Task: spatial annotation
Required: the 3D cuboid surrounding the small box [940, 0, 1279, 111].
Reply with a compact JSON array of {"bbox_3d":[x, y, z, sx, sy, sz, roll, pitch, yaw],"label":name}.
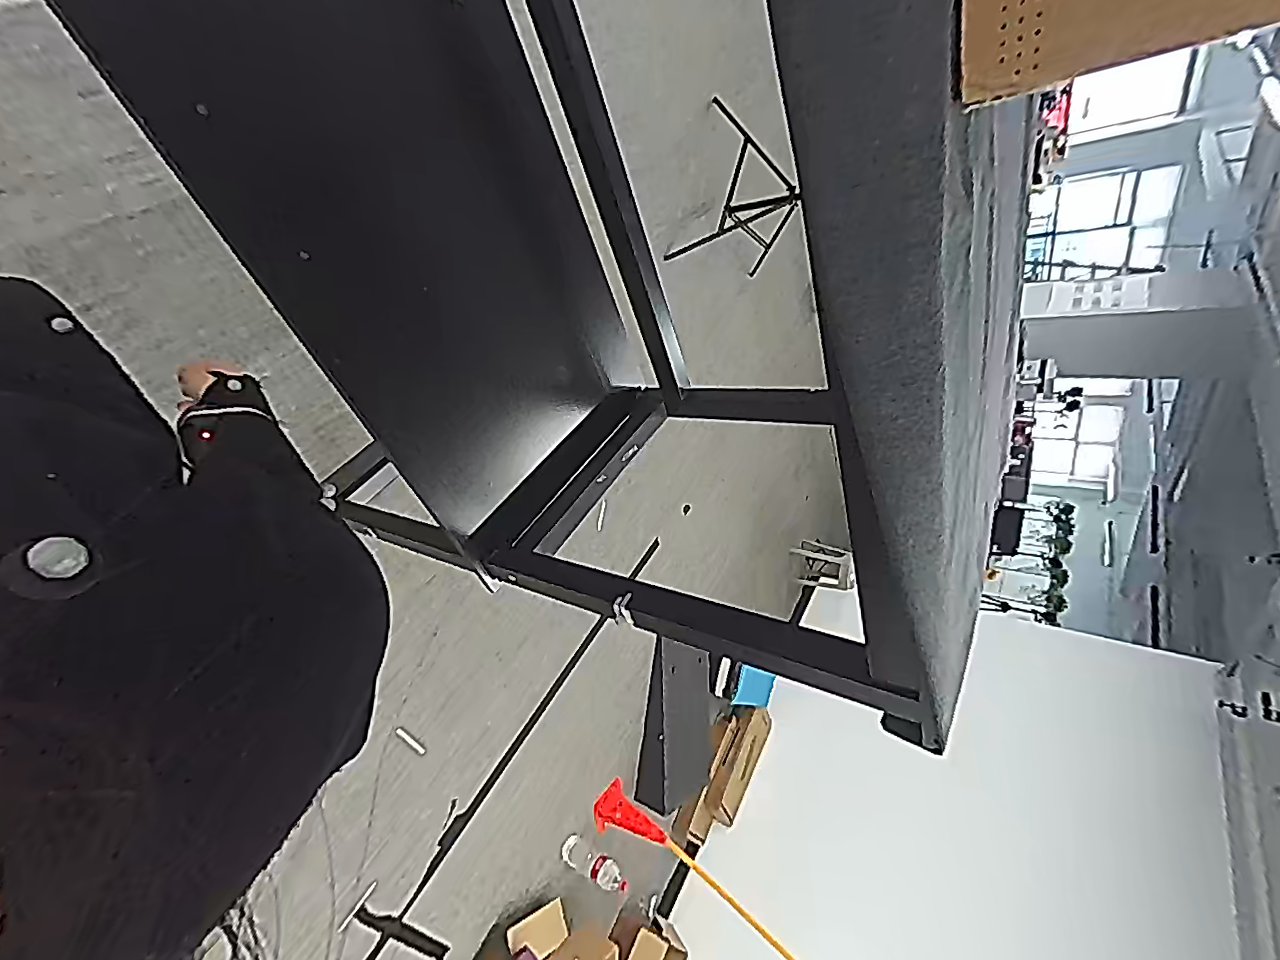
[{"bbox_3d":[0.237,-0.290,0.230,0.179,0.176,0.168,-54,135,-35],"label":"small box"}]
